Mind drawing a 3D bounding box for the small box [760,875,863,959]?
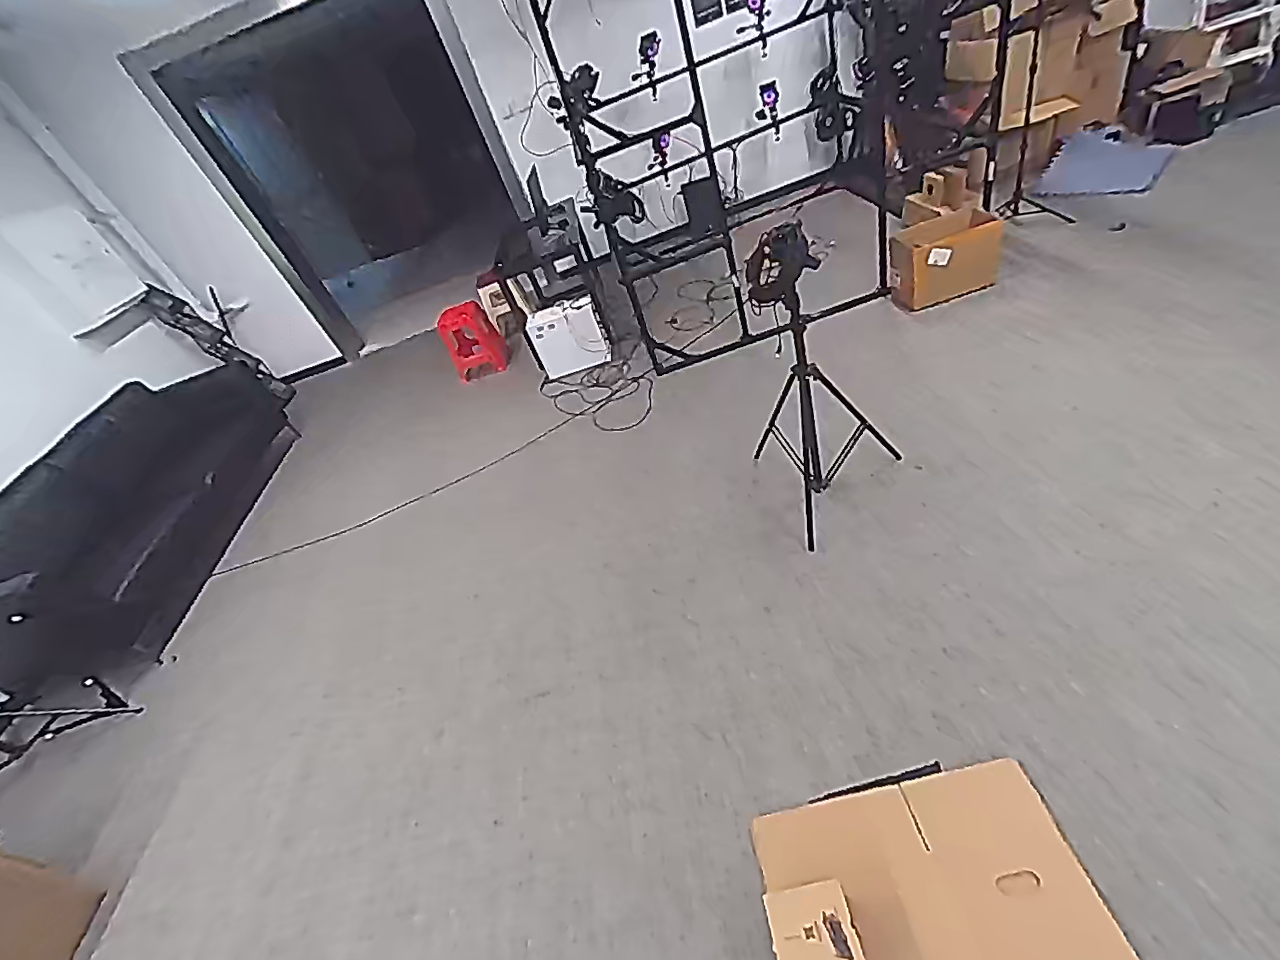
[{"bbox_3d":[0.379,0.996,1.183,0.179,0.176,0.168,-18,39,7],"label":"small box"}]
